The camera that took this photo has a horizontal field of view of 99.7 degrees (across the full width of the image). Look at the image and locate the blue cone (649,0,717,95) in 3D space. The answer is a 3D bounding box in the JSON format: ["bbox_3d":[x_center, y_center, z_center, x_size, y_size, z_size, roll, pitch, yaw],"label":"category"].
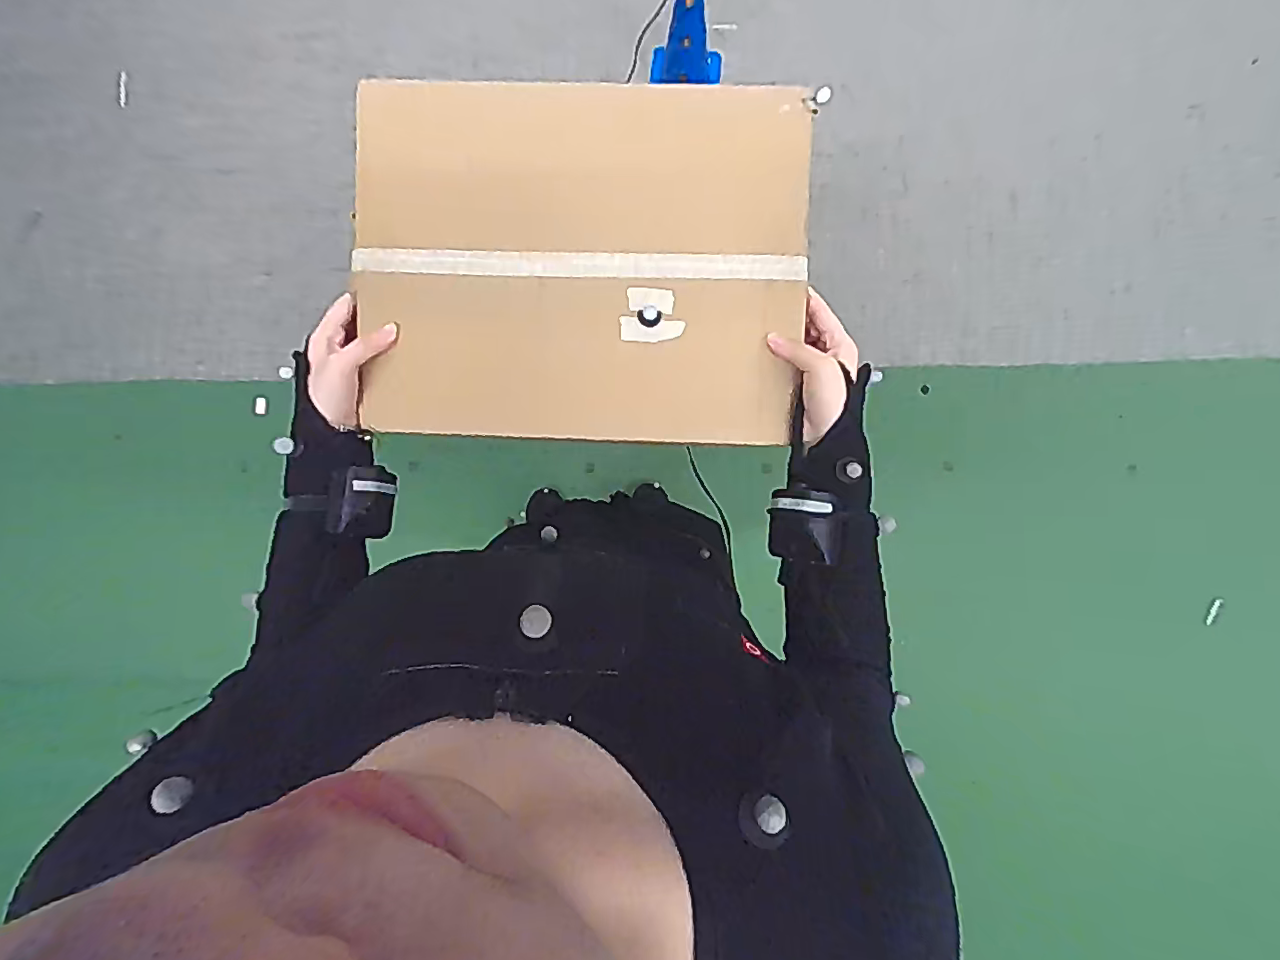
[{"bbox_3d":[0.119,-1.128,1.390,0.193,0.380,0.192,8,89,2],"label":"blue cone"}]

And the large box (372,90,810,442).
[{"bbox_3d":[-0.048,-0.205,0.644,0.408,0.320,0.320,2,94,0],"label":"large box"}]
